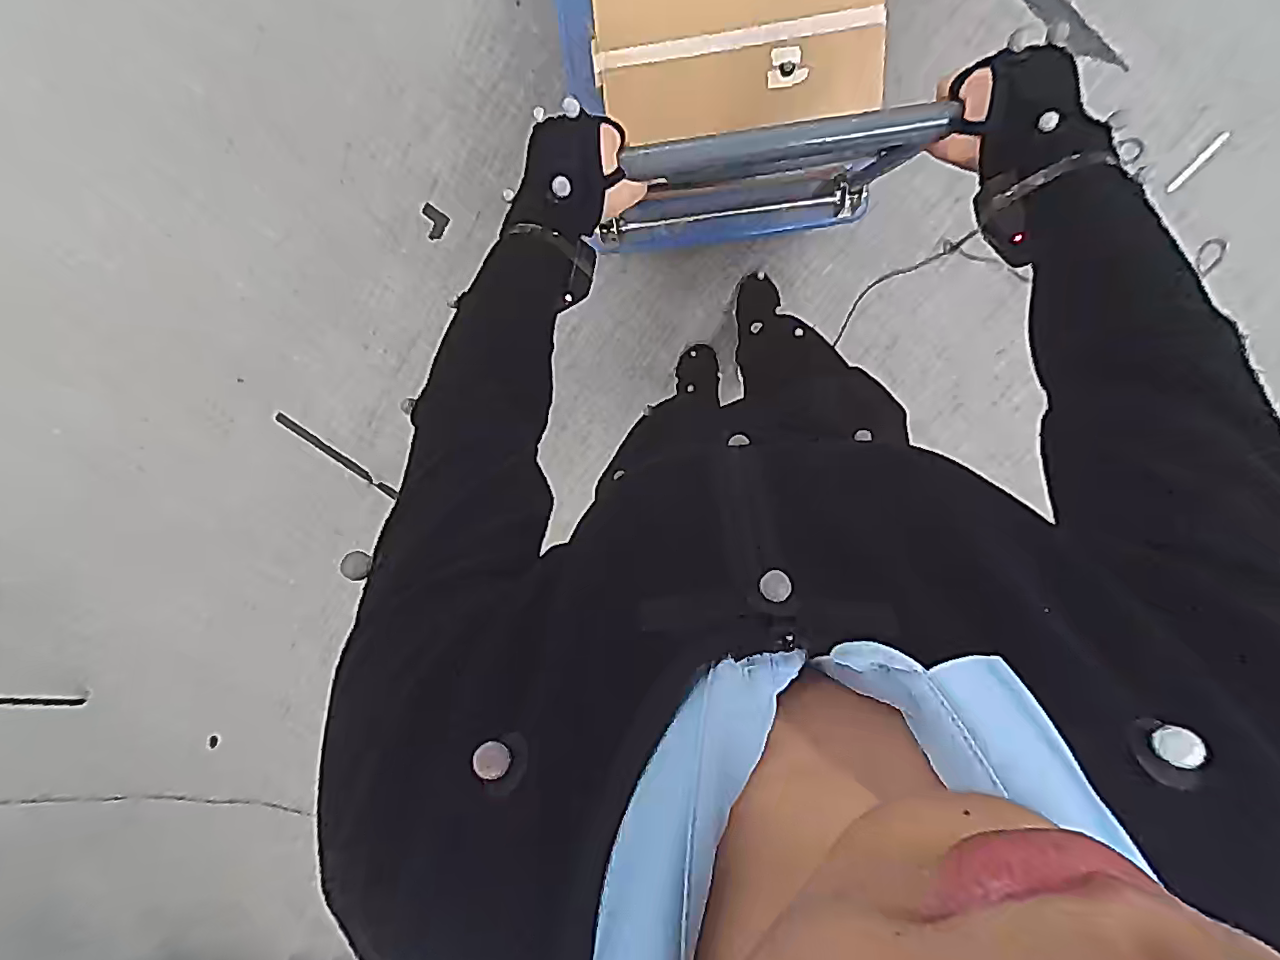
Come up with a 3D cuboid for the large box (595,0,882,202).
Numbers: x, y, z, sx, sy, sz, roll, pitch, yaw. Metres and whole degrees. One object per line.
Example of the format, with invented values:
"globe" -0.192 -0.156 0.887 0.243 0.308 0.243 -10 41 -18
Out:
"large box" 0.149 -0.686 0.915 0.408 0.320 0.320 -6 111 5
